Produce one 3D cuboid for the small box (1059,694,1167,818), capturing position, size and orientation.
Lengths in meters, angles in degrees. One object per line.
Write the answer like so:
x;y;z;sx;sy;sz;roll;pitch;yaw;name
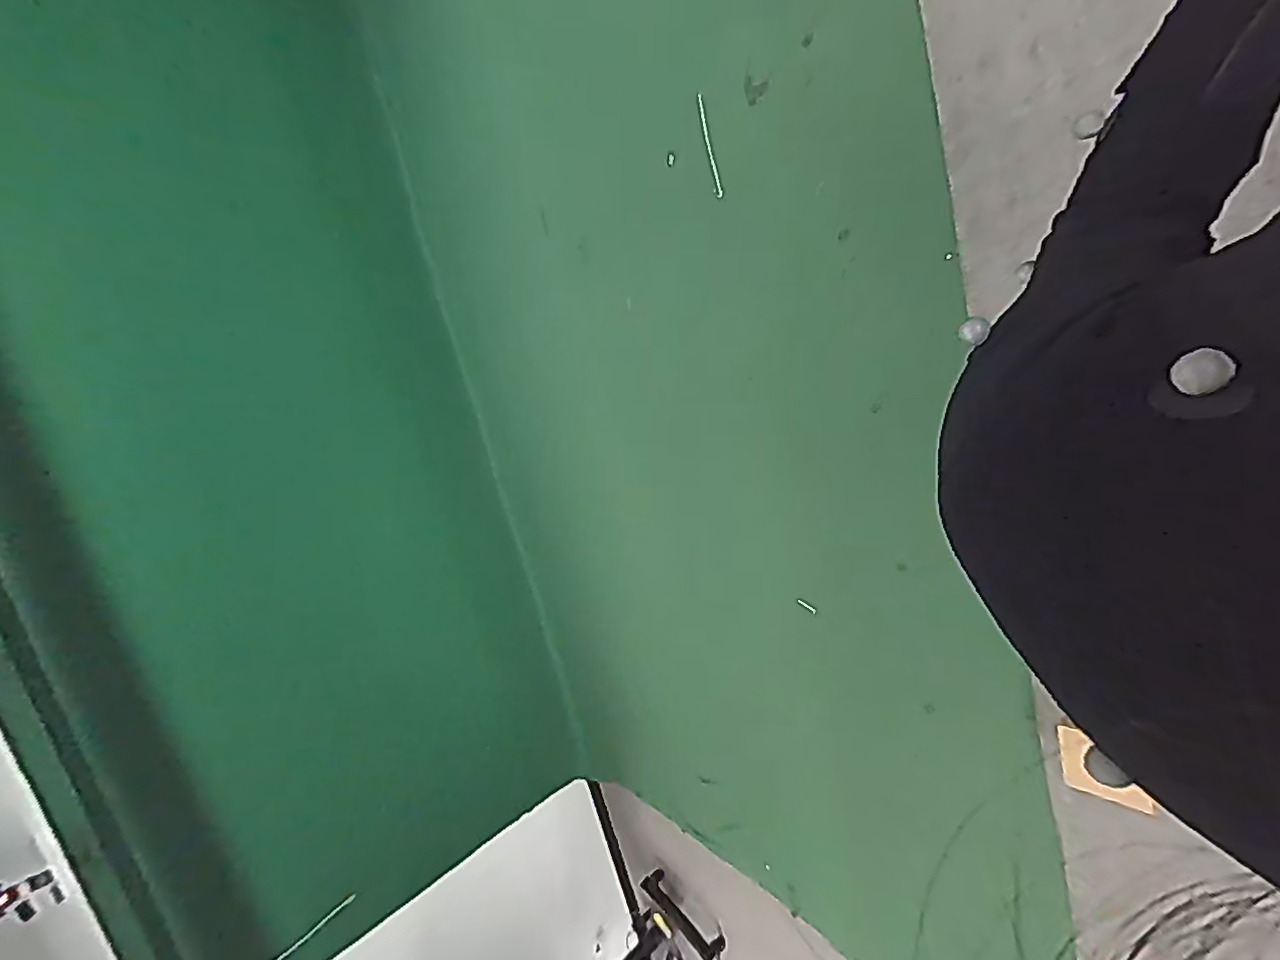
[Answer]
1.134;0.646;1.294;0.168;0.176;0.179;-1;107;52;small box
